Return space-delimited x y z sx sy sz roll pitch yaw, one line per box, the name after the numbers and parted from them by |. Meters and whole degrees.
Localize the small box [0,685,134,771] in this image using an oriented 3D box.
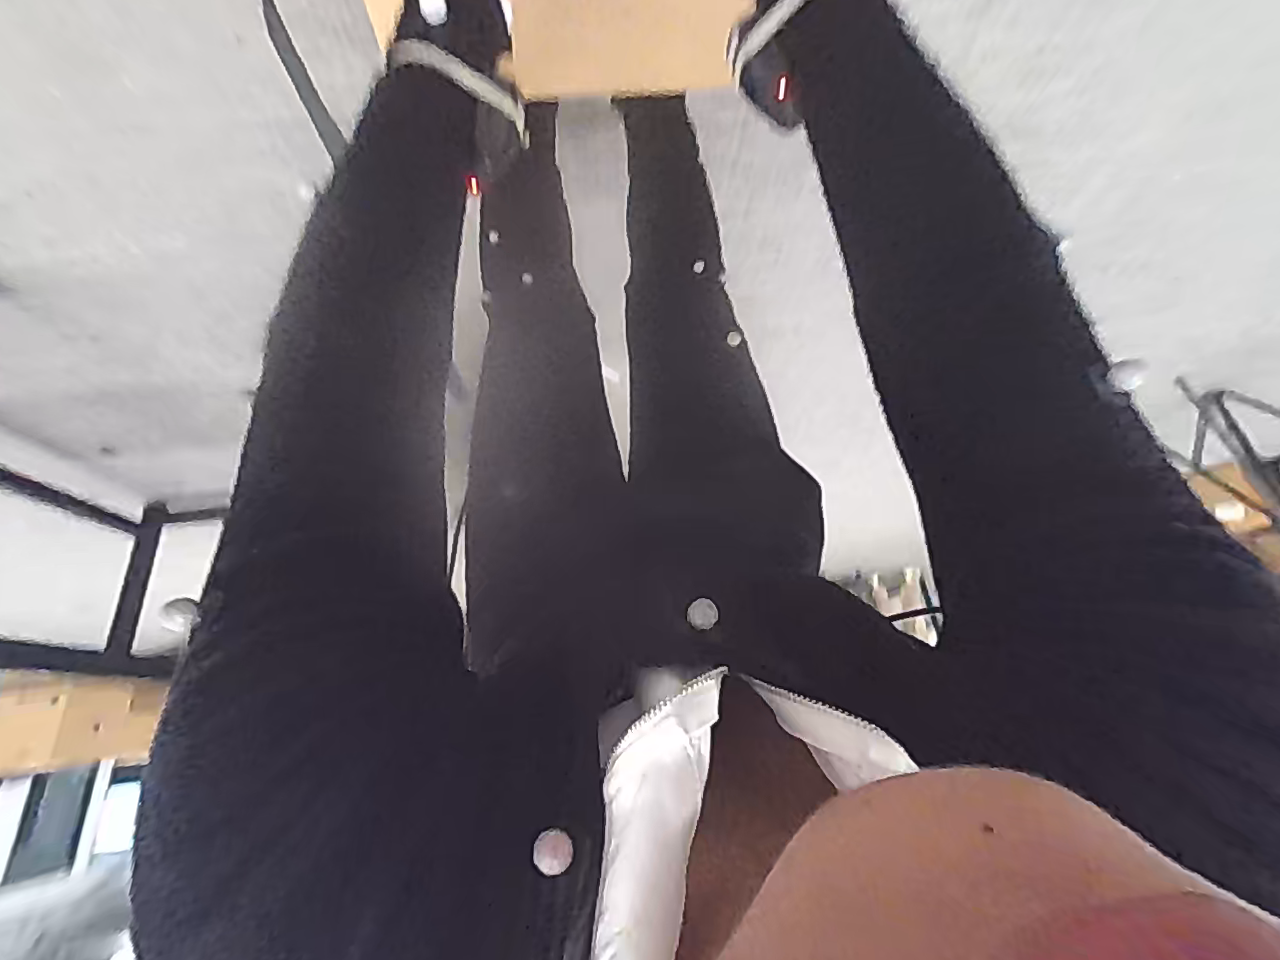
-1.396 0.595 1.310 0.168 0.176 0.179 -5 157 -4 | small box

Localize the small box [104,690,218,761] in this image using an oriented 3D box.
-1.390 0.713 1.581 0.168 0.176 0.179 -6 157 0 | small box
